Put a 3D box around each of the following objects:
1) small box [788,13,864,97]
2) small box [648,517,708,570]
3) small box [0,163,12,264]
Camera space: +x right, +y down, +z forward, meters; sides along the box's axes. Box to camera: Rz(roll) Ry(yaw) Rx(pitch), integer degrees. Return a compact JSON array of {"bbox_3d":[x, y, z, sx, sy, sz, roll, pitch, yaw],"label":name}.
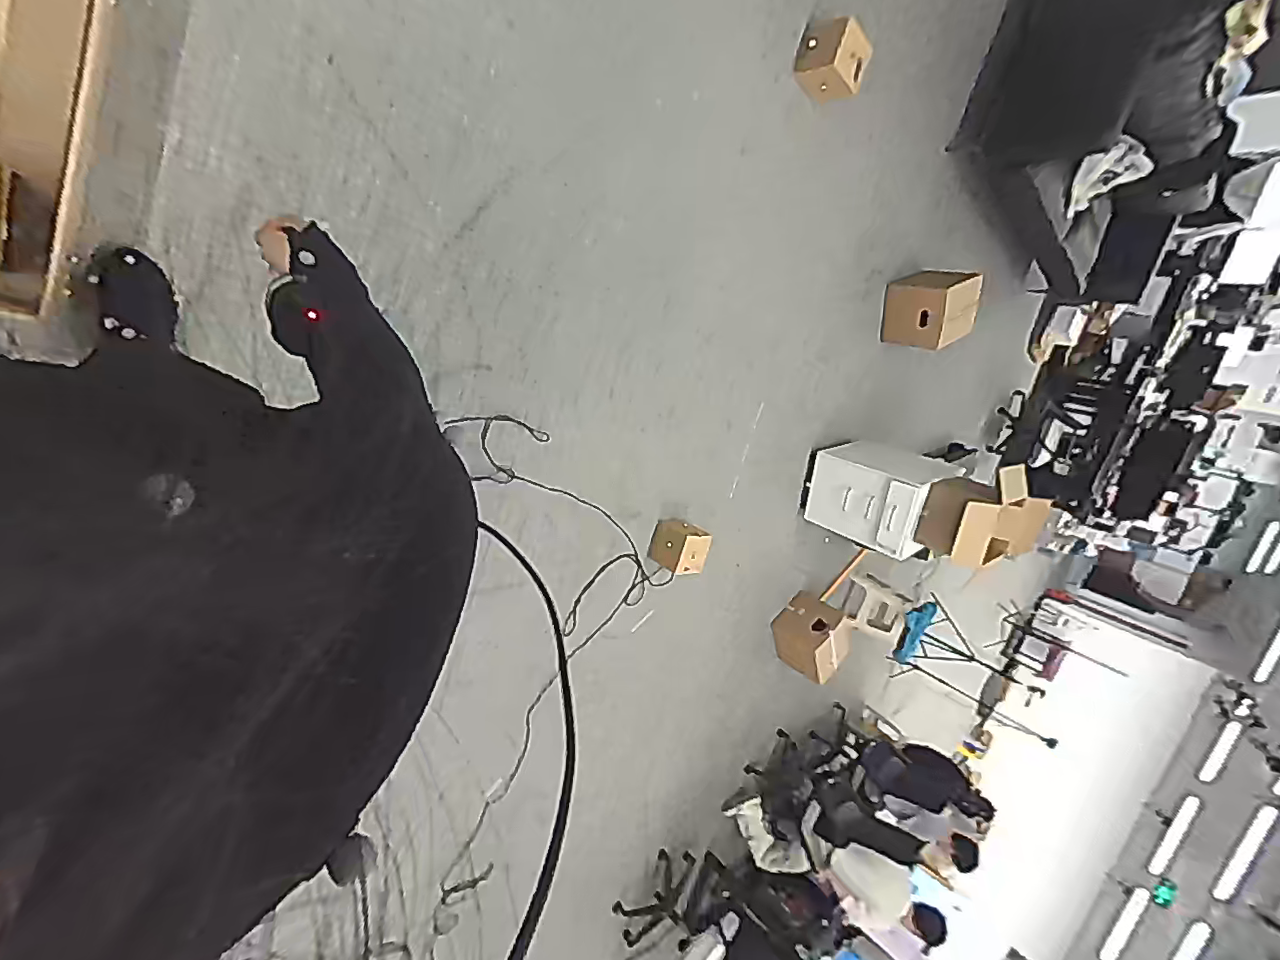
[{"bbox_3d":[0.665,-1.510,1.937,0.179,0.176,0.168,11,102,-45],"label":"small box"},{"bbox_3d":[0.157,0.263,2.284,0.168,0.176,0.179,6,104,-45],"label":"small box"},{"bbox_3d":[-1.028,-0.399,0.756,0.179,0.176,0.168,5,105,-47],"label":"small box"}]
